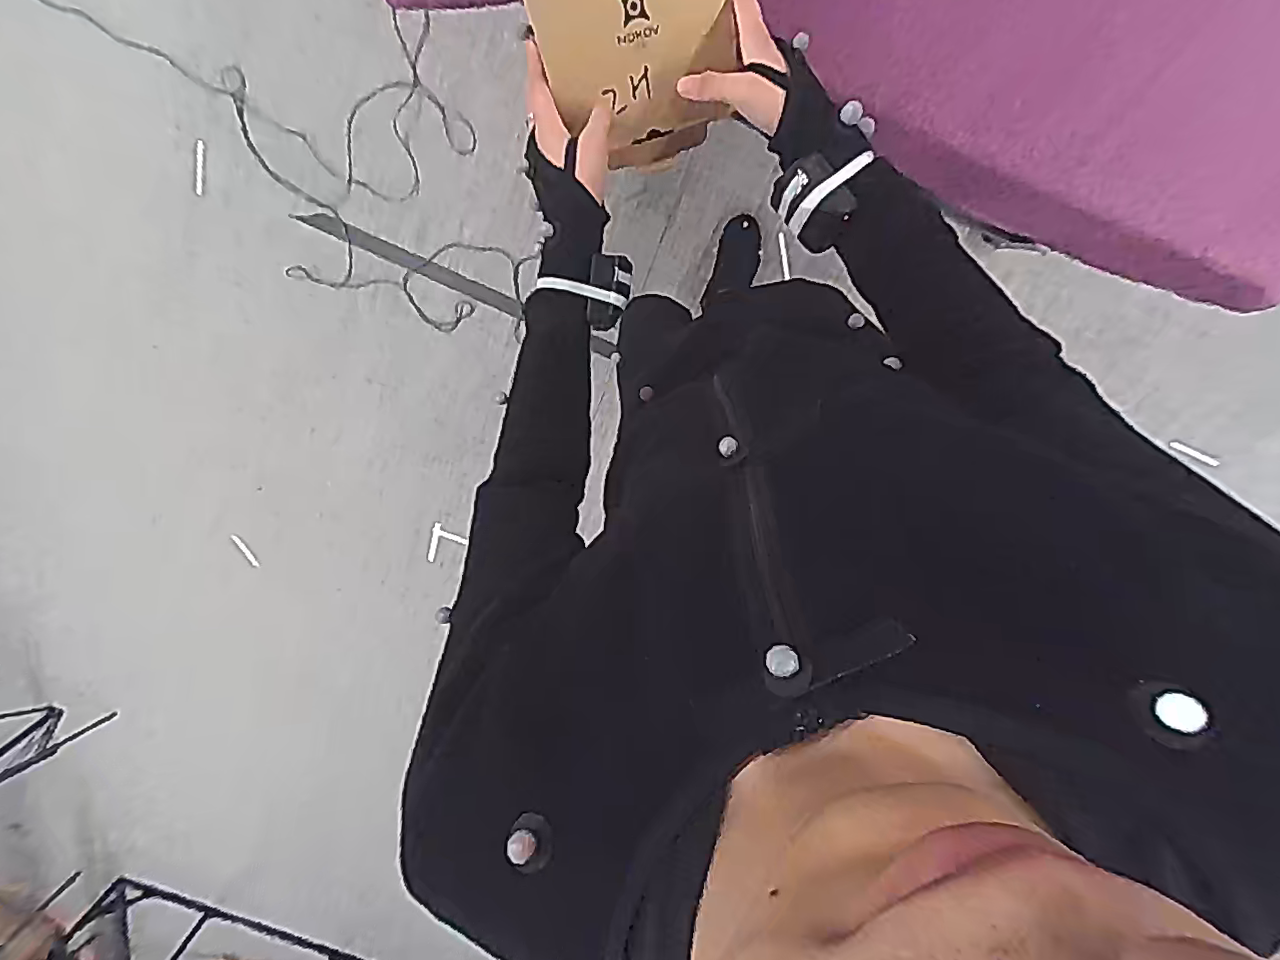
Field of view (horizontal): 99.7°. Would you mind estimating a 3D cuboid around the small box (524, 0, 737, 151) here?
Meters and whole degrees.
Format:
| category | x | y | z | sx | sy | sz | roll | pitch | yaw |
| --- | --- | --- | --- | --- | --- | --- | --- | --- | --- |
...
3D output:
| category | x | y | z | sx | sy | sz | roll | pitch | yaw |
| --- | --- | --- | --- | --- | --- | --- | --- | --- | --- |
| small box | -0.019 | -0.433 | 0.492 | 0.168 | 0.176 | 0.179 | -14 | 135 | 1 |
